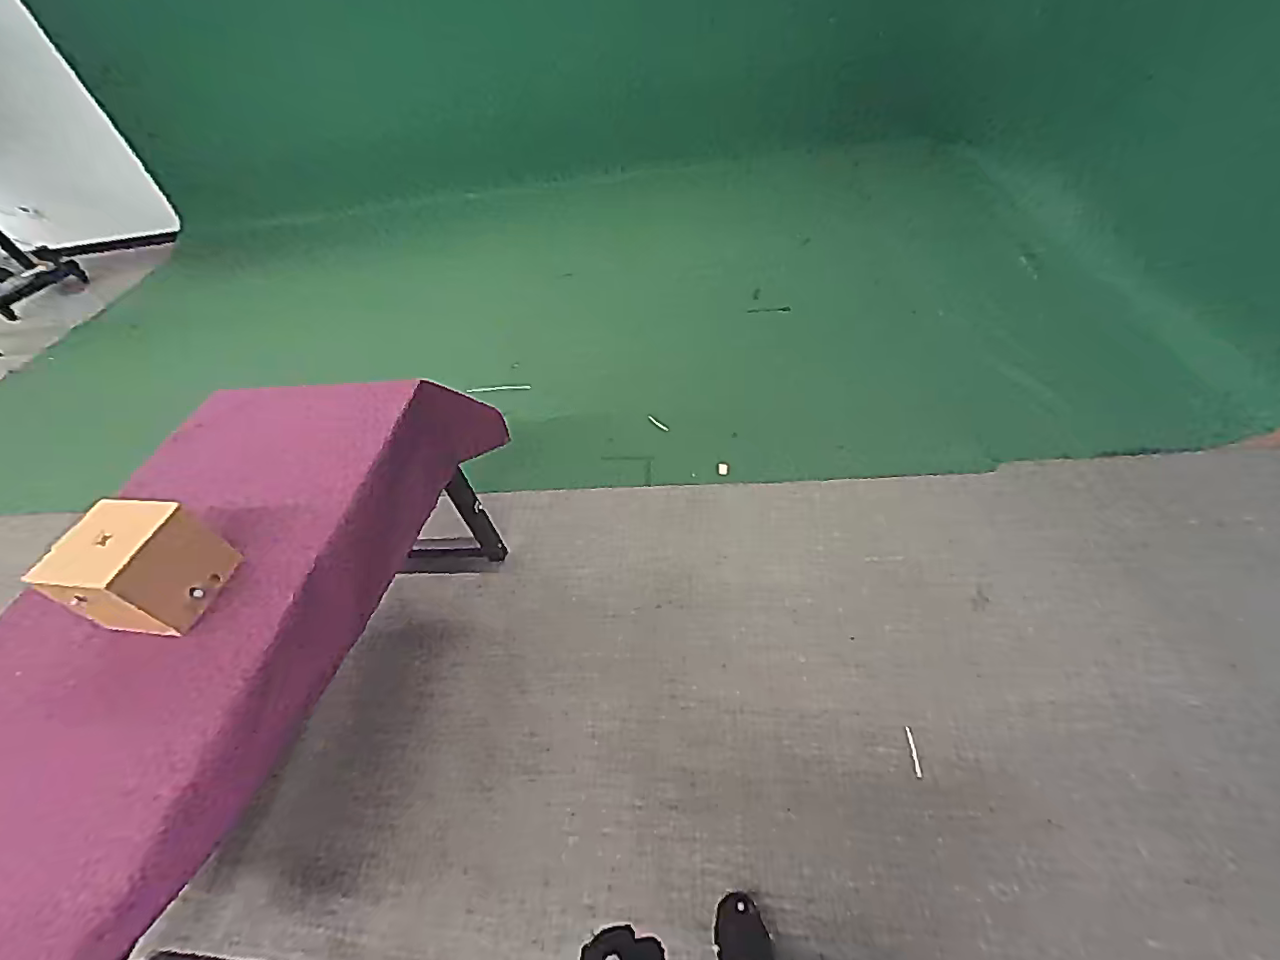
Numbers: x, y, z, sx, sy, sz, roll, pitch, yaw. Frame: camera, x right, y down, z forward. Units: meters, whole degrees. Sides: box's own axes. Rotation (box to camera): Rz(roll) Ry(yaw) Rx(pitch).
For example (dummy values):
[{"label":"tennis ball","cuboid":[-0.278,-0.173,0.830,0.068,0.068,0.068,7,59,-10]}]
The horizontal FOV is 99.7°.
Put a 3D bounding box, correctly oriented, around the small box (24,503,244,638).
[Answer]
[{"label":"small box","cuboid":[-0.849,0.156,0.928,0.179,0.176,0.168,2,50,13]}]
